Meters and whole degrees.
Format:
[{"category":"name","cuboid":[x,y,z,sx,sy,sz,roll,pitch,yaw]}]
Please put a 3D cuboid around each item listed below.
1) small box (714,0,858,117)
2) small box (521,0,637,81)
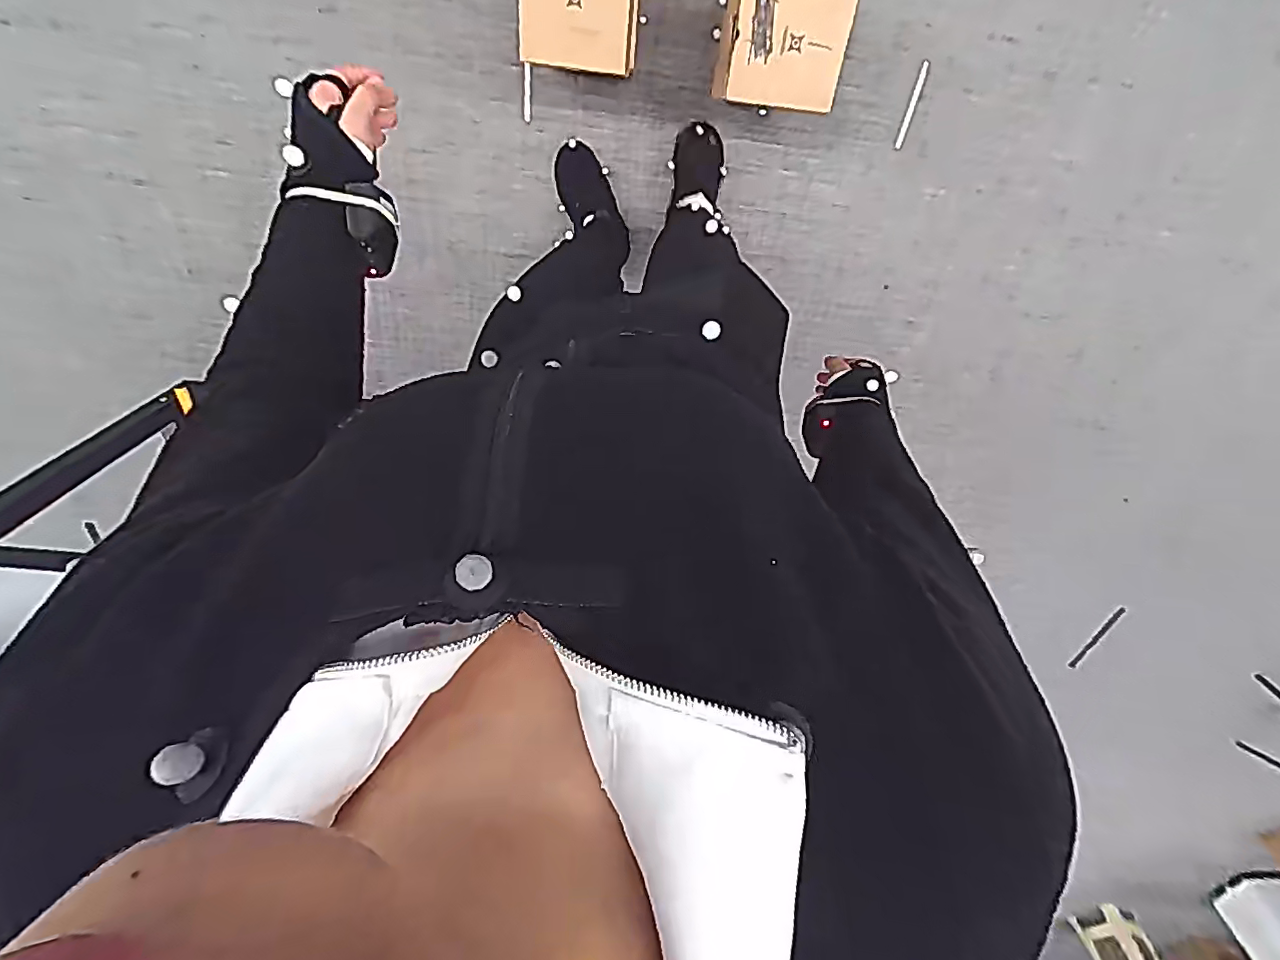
[{"category":"small box","cuboid":[0.226,-0.704,0.885,0.179,0.176,0.168,5,126,-4]},{"category":"small box","cuboid":[-0.092,-0.749,0.853,0.168,0.176,0.179,6,127,-2]}]
